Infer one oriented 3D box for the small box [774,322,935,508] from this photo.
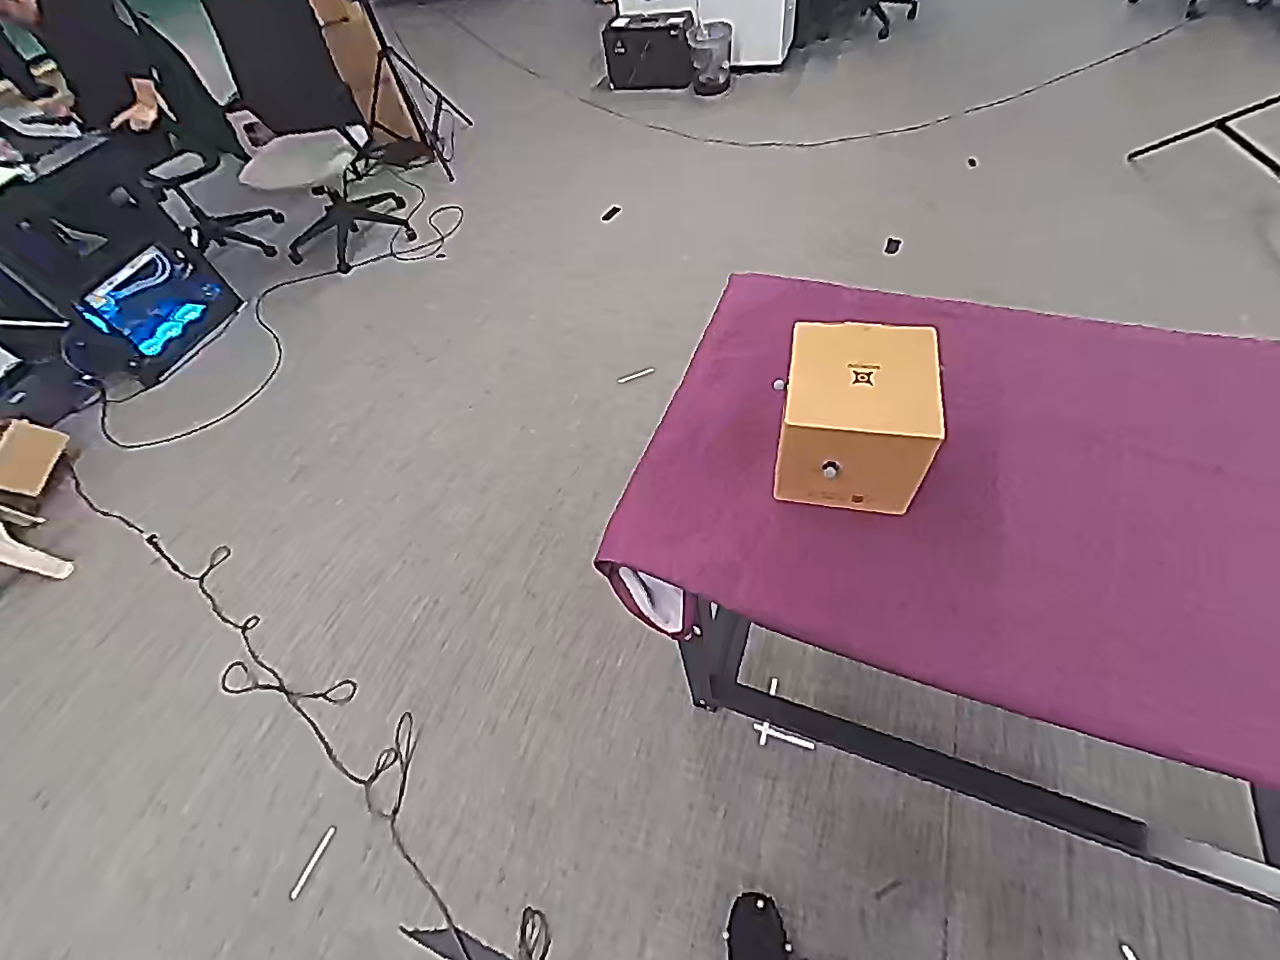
[{"bbox_3d":[0.266,-0.081,0.700,0.168,0.176,0.179,6,57,14],"label":"small box"}]
